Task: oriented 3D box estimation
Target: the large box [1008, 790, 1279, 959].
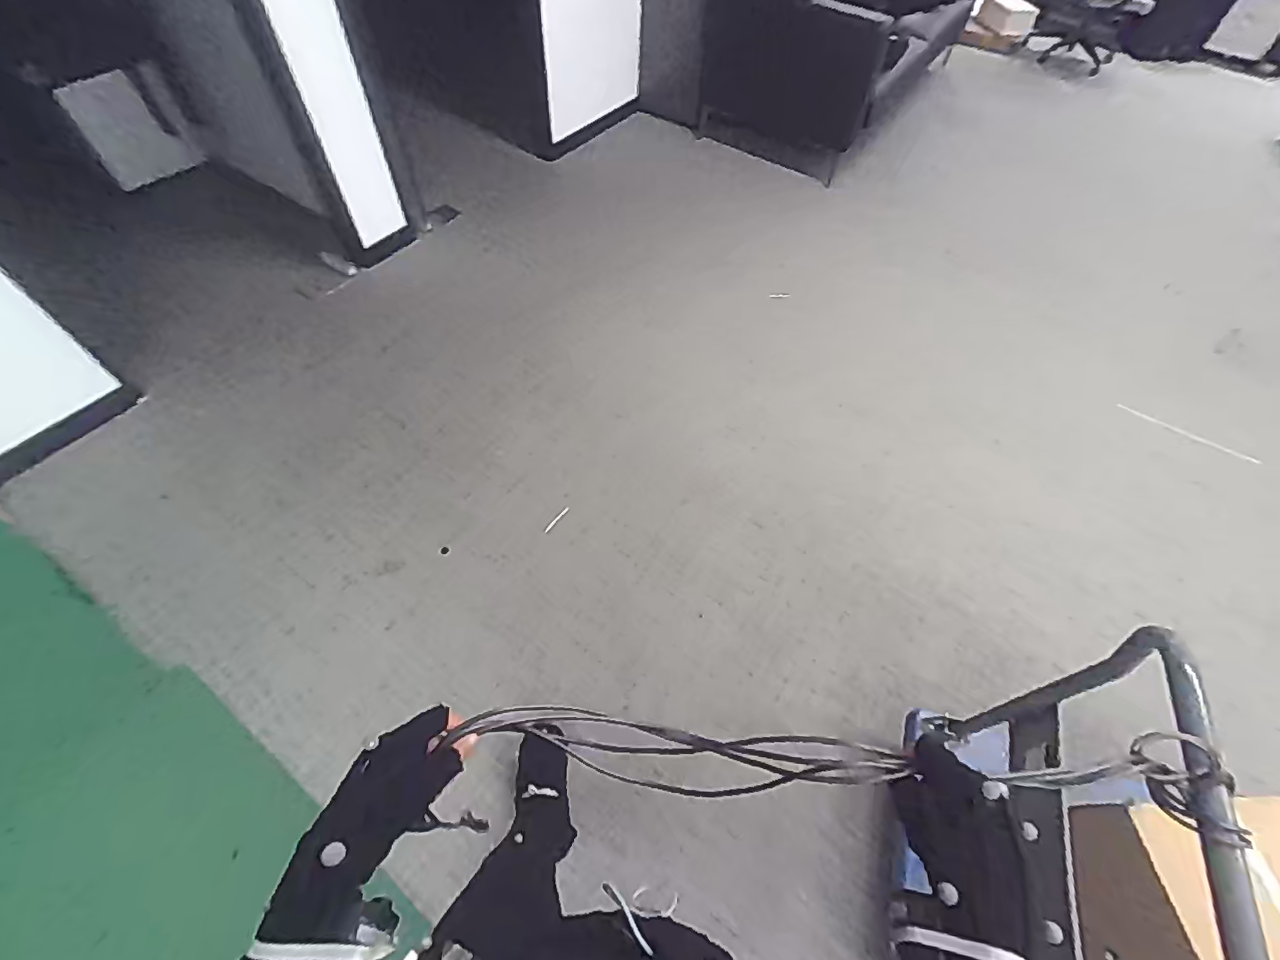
[{"bbox_3d":[0.918,0.763,0.889,0.320,0.320,0.408,0,55,-4],"label":"large box"}]
